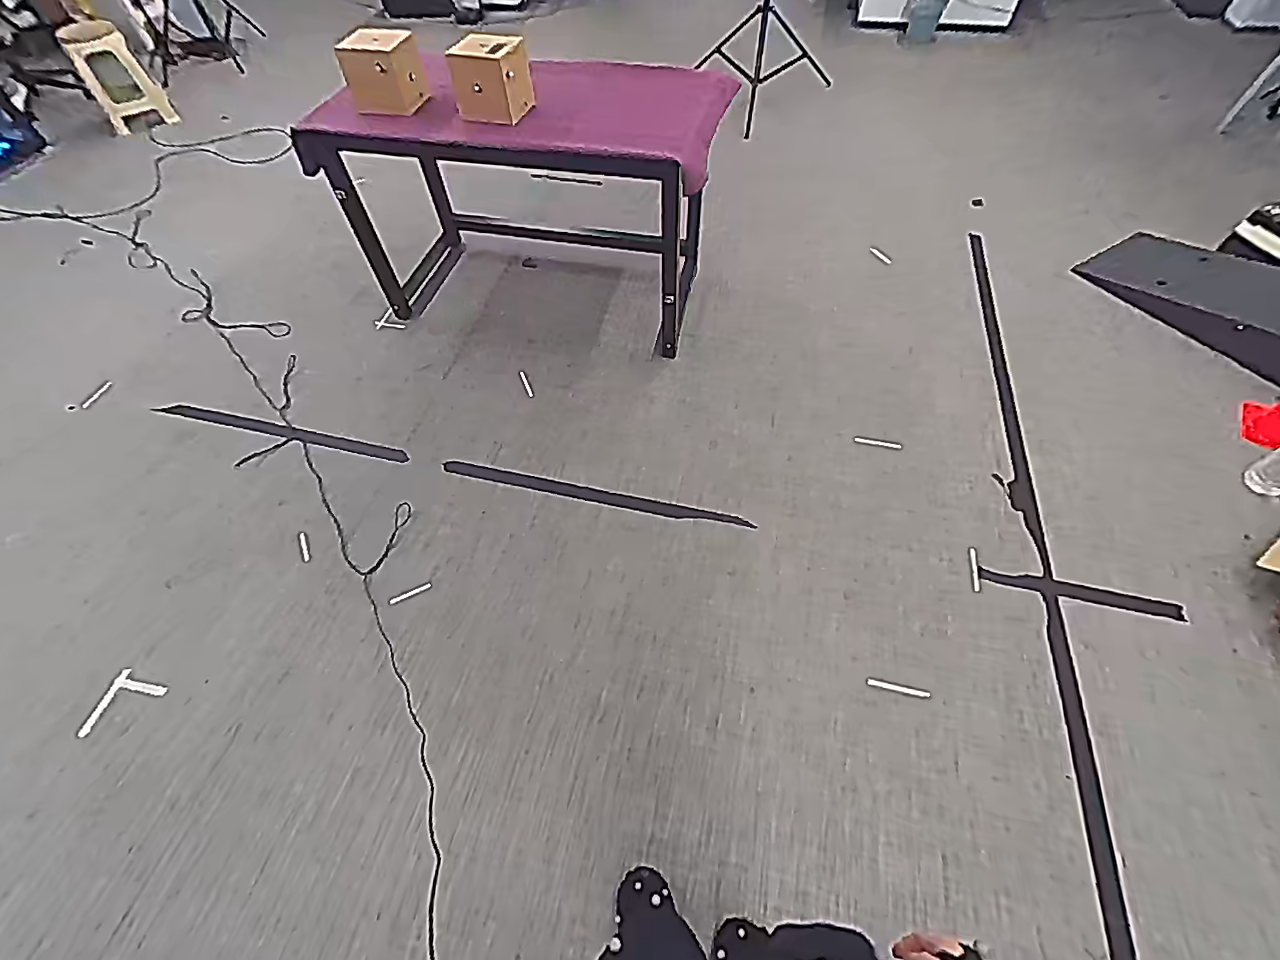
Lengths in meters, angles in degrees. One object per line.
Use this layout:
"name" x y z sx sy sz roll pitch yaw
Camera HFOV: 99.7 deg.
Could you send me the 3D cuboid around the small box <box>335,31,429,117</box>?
"small box" -0.773 -1.232 1.646 0.179 0.176 0.168 8 55 7
